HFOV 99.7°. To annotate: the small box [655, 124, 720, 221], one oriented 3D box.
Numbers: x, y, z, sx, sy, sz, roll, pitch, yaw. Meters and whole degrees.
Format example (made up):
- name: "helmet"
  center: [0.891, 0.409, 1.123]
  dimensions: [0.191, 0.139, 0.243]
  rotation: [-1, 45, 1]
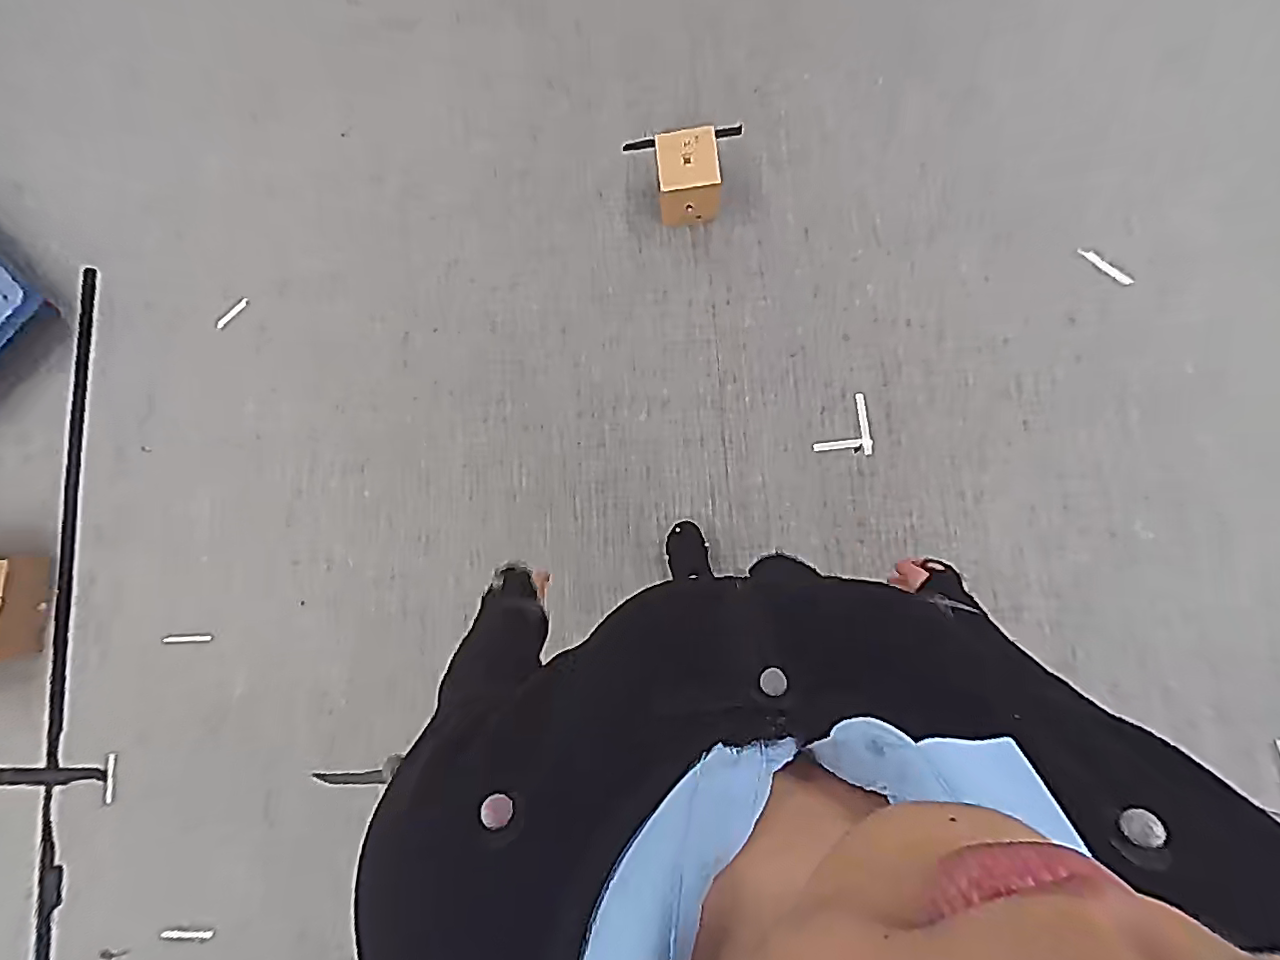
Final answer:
- name: "small box"
  center: [0.138, -0.866, 1.545]
  dimensions: [0.168, 0.176, 0.179]
  rotation: [-6, 82, 5]
